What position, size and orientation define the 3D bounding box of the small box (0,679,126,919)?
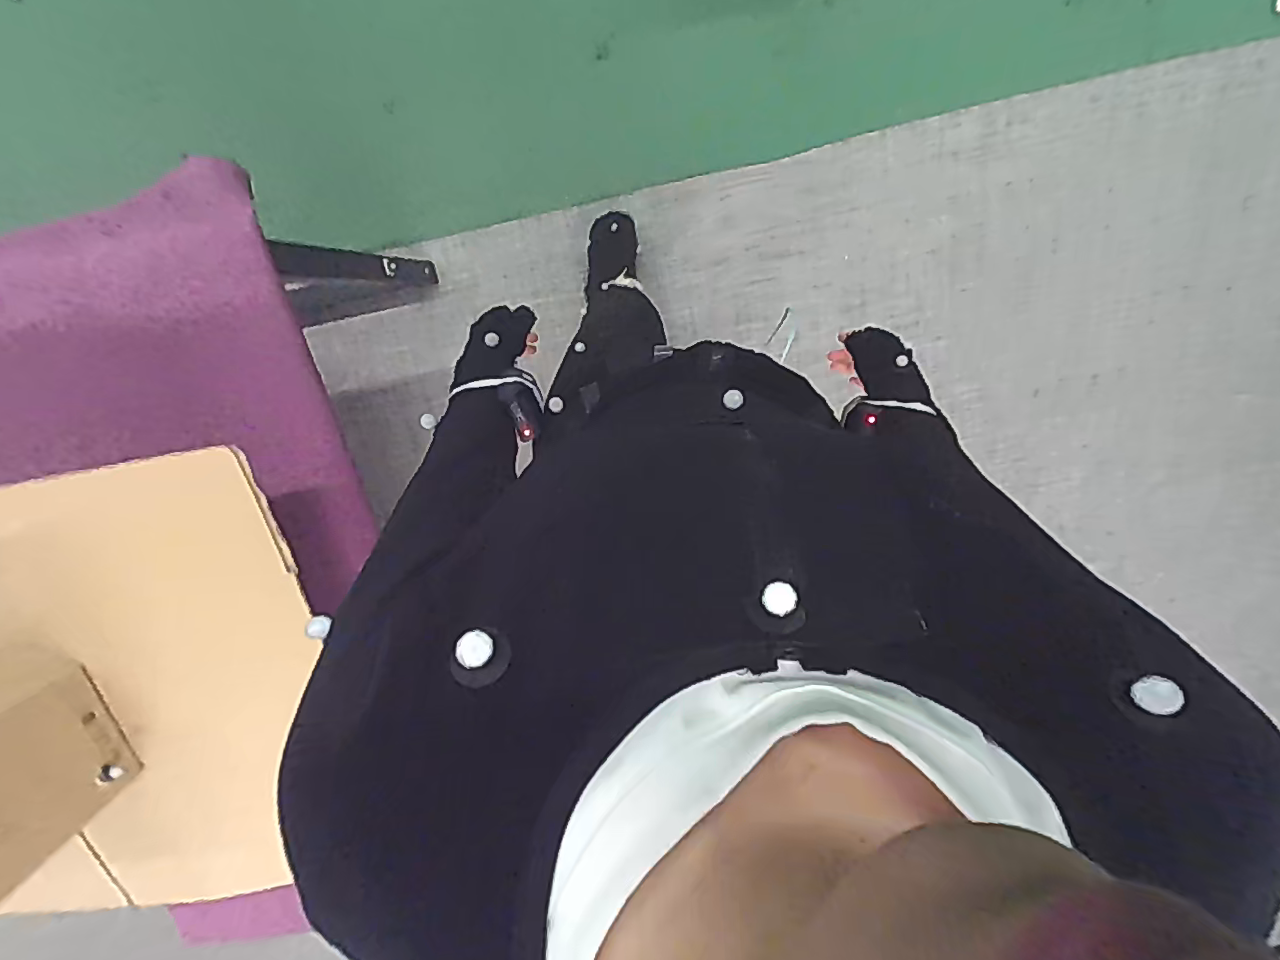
[{"bbox_3d":[-0.708,0.335,0.568,0.179,0.176,0.168,-12,108,4],"label":"small box"}]
